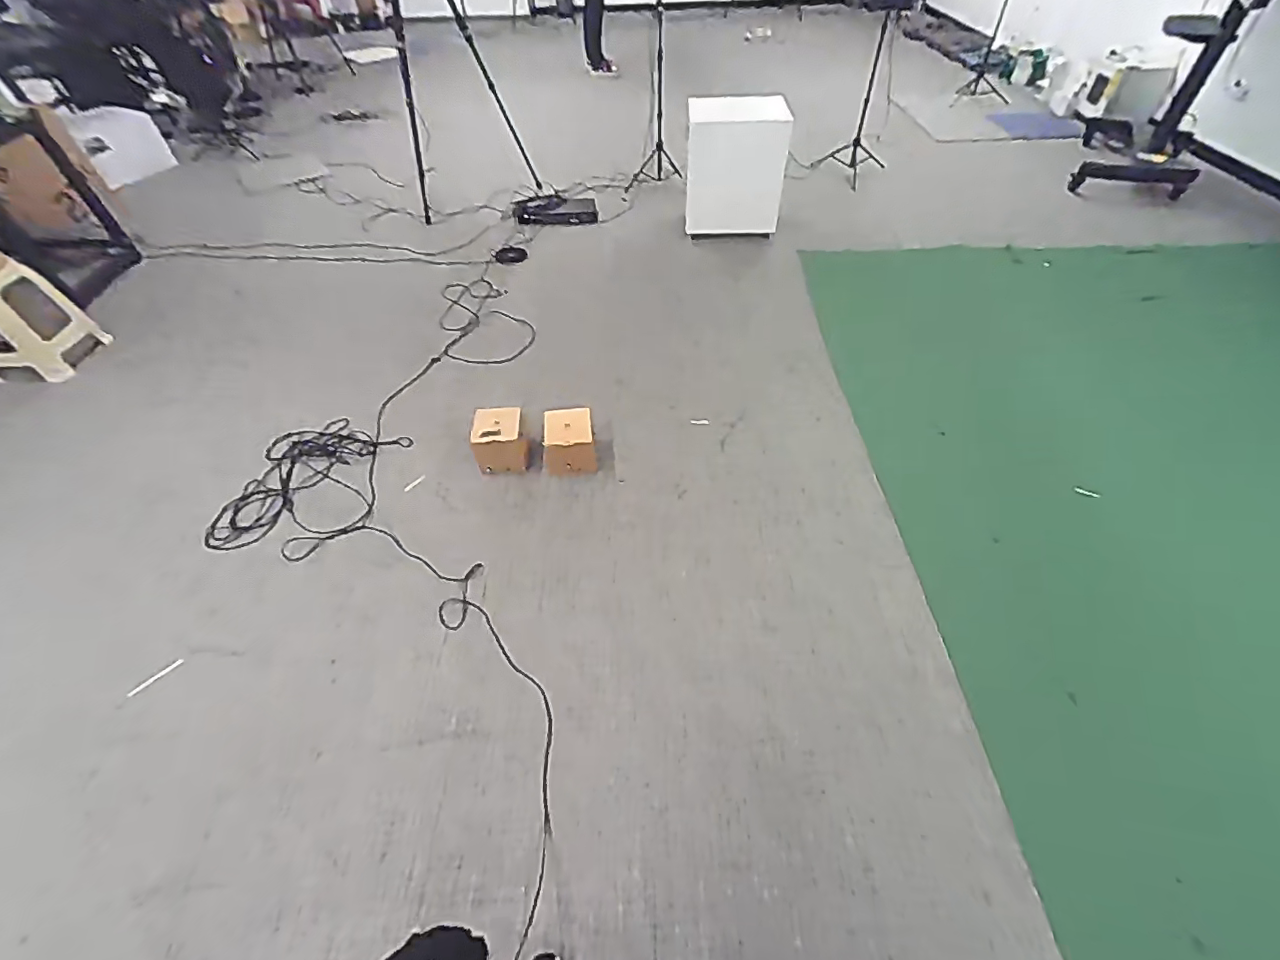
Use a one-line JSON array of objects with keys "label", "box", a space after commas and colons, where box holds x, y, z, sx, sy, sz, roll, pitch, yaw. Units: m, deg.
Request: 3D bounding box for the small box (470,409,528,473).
[{"label": "small box", "box": [-0.507, -0.136, 1.972, 0.168, 0.176, 0.179, -4, 48, -1]}]

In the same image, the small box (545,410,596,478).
[{"label": "small box", "box": [-0.252, -0.129, 1.960, 0.168, 0.176, 0.179, -6, 50, -3]}]
